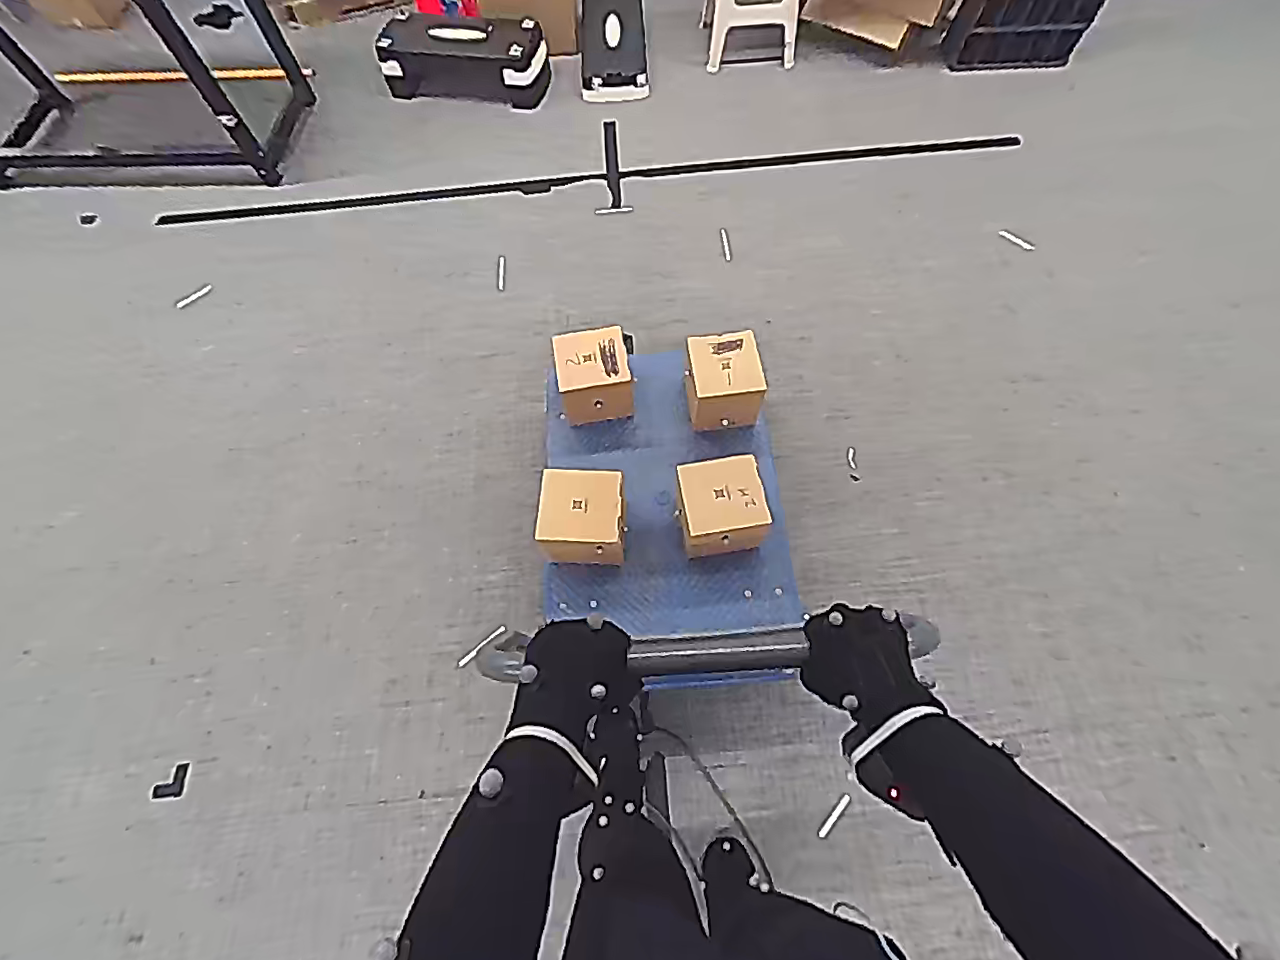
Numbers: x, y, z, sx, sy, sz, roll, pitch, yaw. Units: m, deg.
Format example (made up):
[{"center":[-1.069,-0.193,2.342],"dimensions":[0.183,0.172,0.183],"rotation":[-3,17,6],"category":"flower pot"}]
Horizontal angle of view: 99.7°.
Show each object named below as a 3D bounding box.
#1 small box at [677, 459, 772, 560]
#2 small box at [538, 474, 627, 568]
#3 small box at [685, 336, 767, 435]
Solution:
[{"center":[0.183,0.073,1.228],"dimensions":[0.179,0.176,0.168],"rotation":[-9,66,-2],"category":"small box"},{"center":[-0.123,0.098,1.228],"dimensions":[0.179,0.176,0.168],"rotation":[2,65,1],"category":"small box"},{"center":[0.209,-0.235,1.365],"dimensions":[0.168,0.176,0.179],"rotation":[-7,67,-1],"category":"small box"}]
